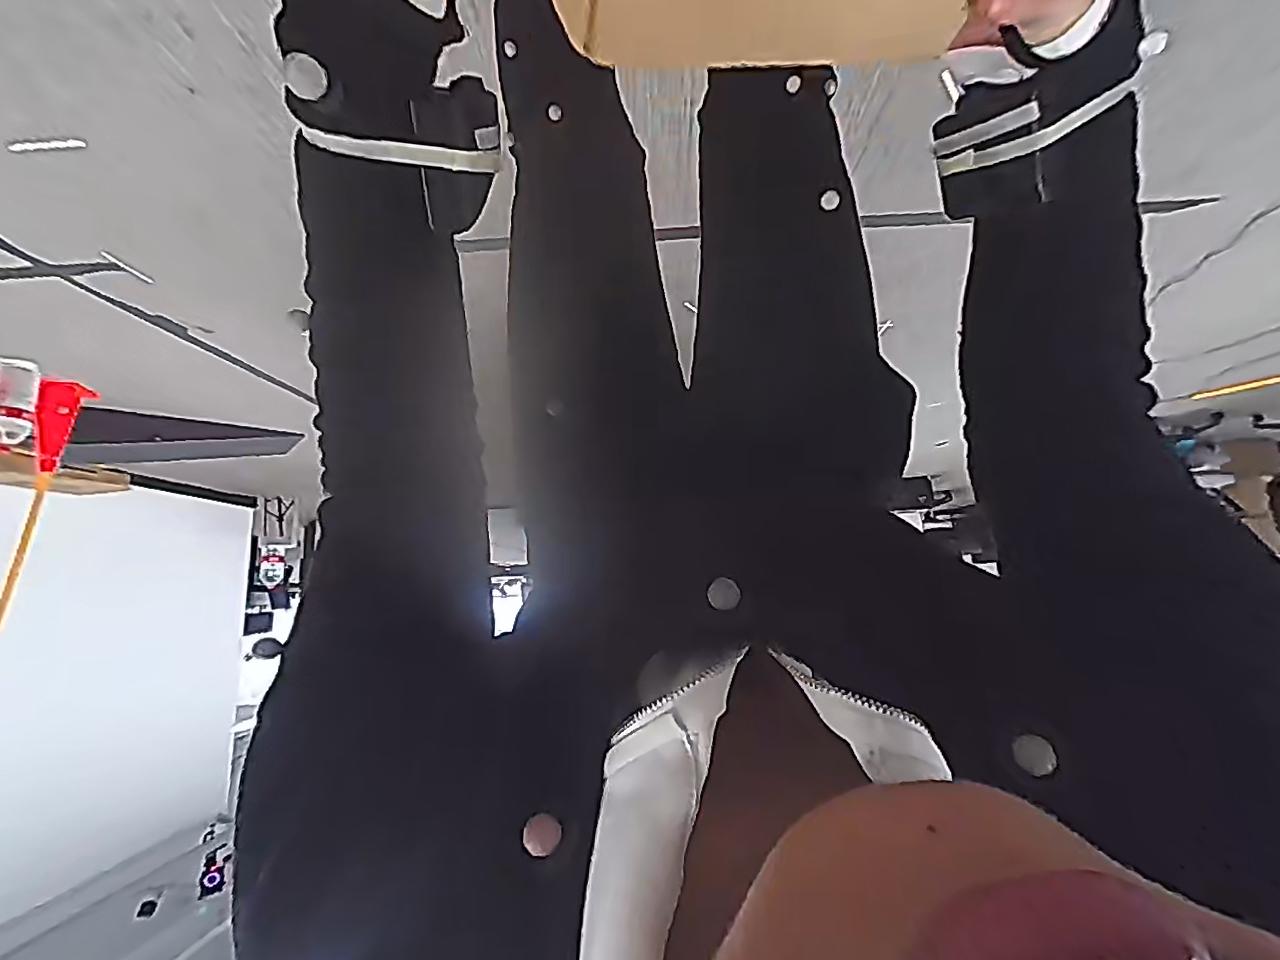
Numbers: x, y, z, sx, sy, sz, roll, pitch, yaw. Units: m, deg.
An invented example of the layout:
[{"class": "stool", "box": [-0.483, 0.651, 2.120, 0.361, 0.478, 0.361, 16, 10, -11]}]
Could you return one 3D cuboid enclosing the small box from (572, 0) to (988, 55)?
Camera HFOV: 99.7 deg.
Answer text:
[{"class": "small box", "box": [0.051, -0.270, 0.156, 0.179, 0.176, 0.168, -14, 164, -20]}]
